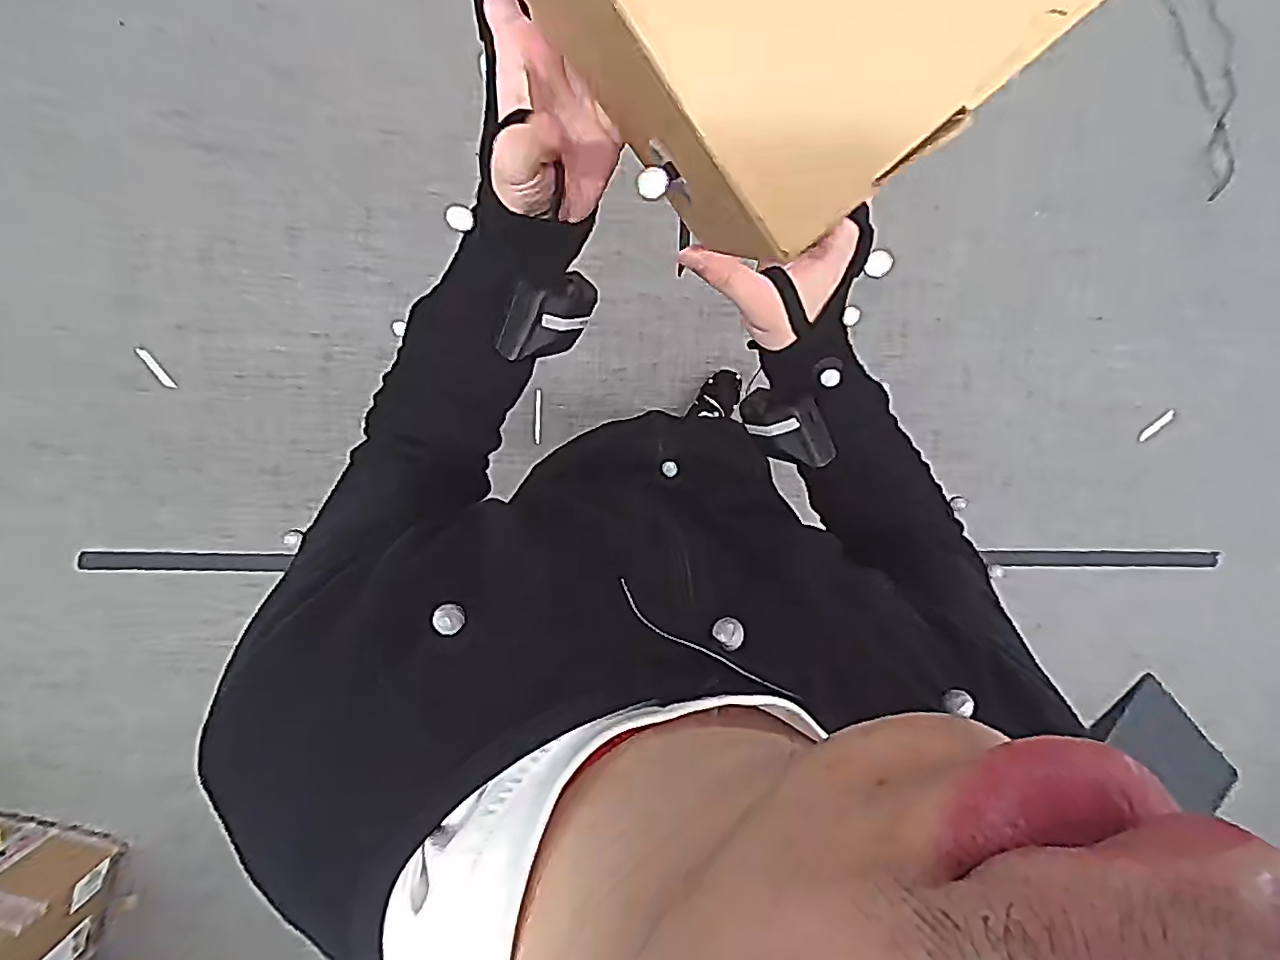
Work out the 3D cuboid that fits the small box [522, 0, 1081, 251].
[{"bbox_3d":[0.047,-0.212,0.197,0.168,0.176,0.179,-39,110,13],"label":"small box"}]
